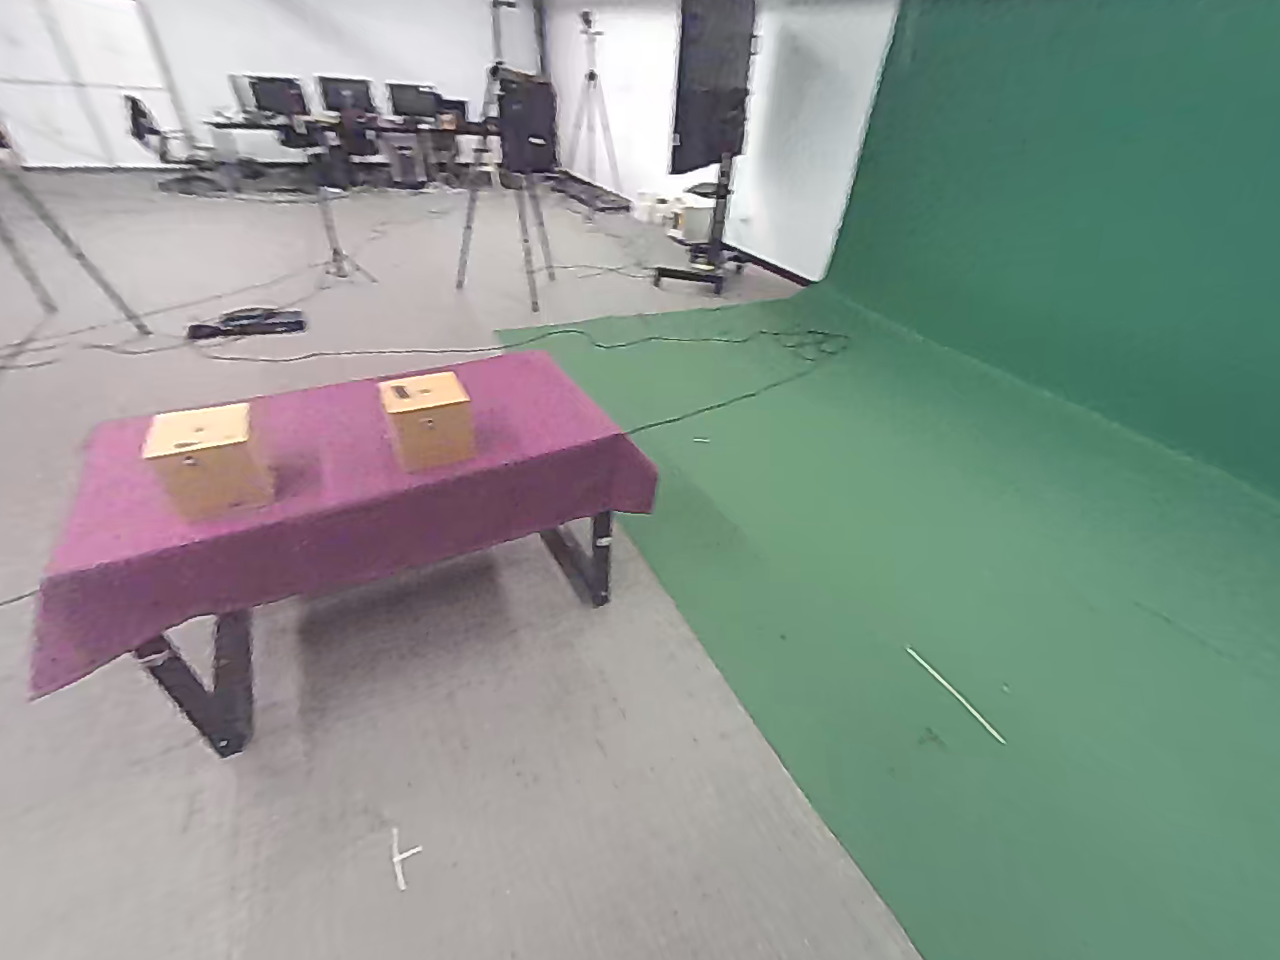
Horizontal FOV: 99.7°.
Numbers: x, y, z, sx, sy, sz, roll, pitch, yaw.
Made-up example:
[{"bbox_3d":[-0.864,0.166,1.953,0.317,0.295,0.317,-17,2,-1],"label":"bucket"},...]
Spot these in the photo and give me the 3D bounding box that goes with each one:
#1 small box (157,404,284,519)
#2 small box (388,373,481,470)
[{"bbox_3d":[-0.895,-0.042,1.172,0.168,0.176,0.179,-15,40,-23],"label":"small box"},{"bbox_3d":[-0.509,-0.145,1.347,0.179,0.176,0.168,-15,41,-24],"label":"small box"}]
